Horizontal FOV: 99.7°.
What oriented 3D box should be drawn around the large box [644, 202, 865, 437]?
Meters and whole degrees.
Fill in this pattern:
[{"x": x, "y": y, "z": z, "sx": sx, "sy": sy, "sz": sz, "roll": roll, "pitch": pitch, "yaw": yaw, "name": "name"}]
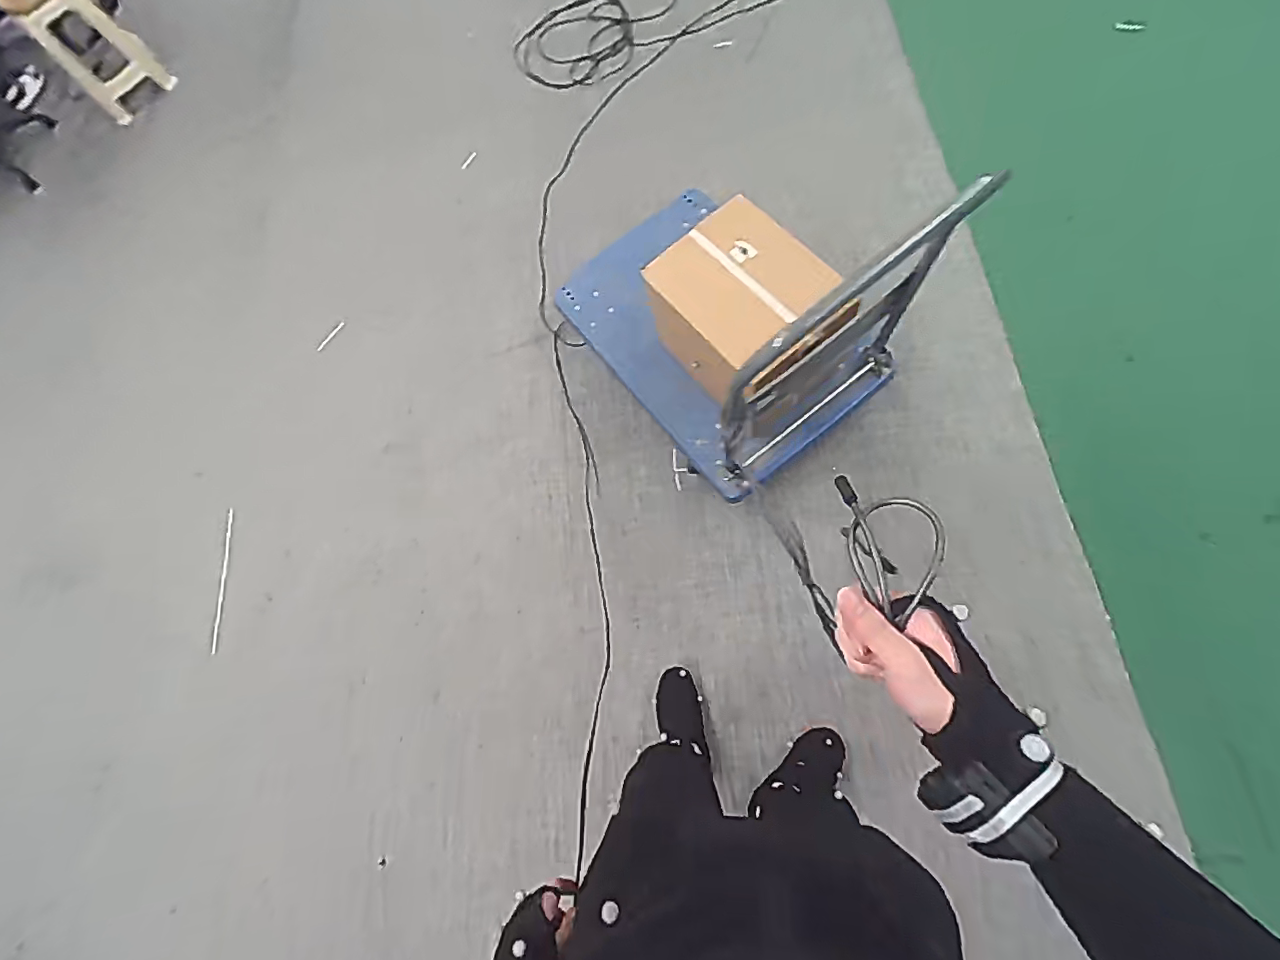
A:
[{"x": 0.275, "y": -0.382, "z": 1.346, "sx": 0.320, "sy": 0.320, "sz": 0.408, "roll": -39, "pitch": 69, "yaw": -3, "name": "large box"}]
